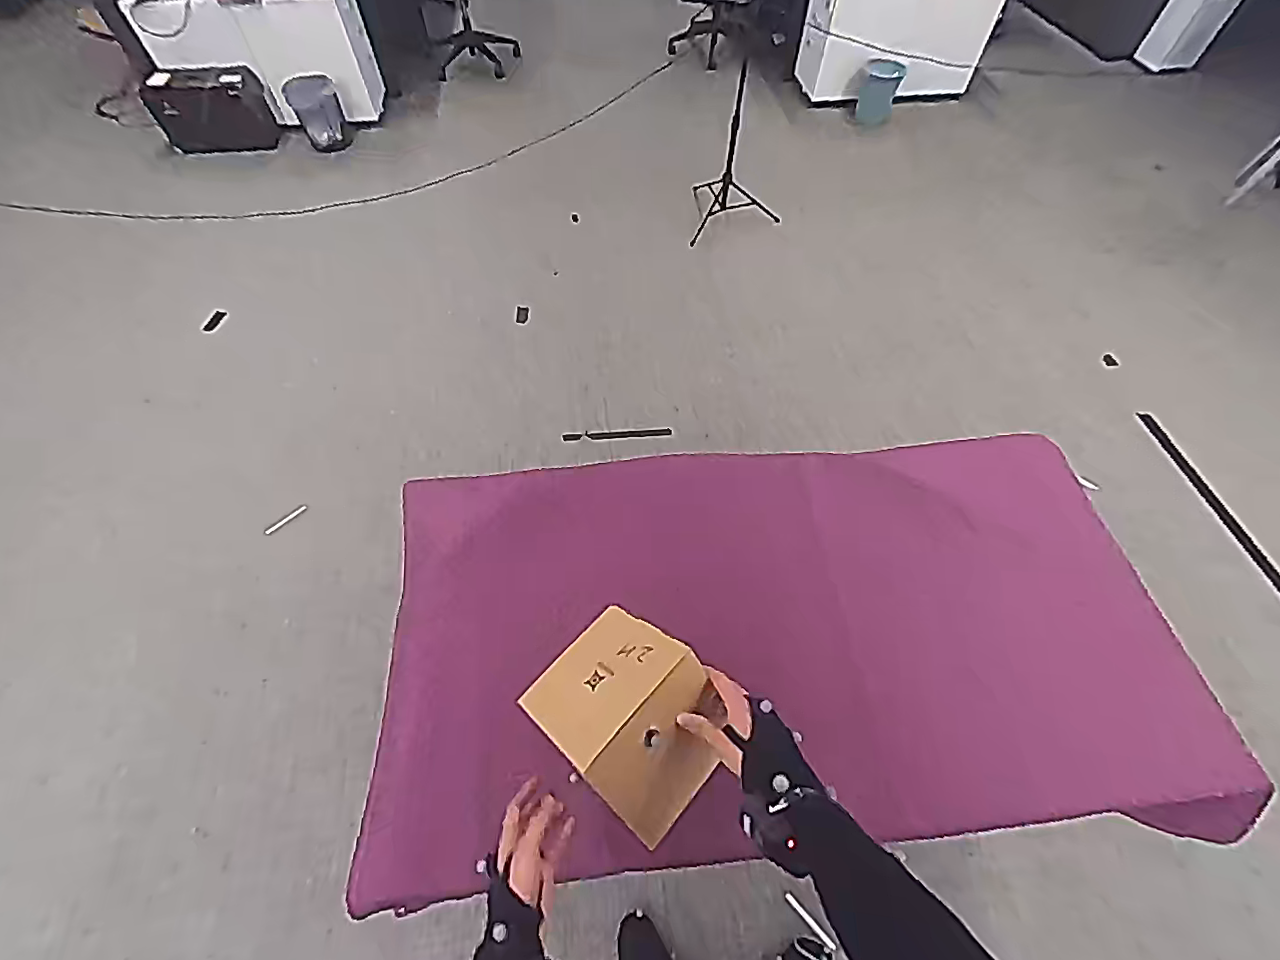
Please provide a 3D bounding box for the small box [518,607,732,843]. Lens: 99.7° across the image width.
[{"bbox_3d":[-0.013,0.299,0.676,0.179,0.176,0.168,-41,29,-24],"label":"small box"}]
